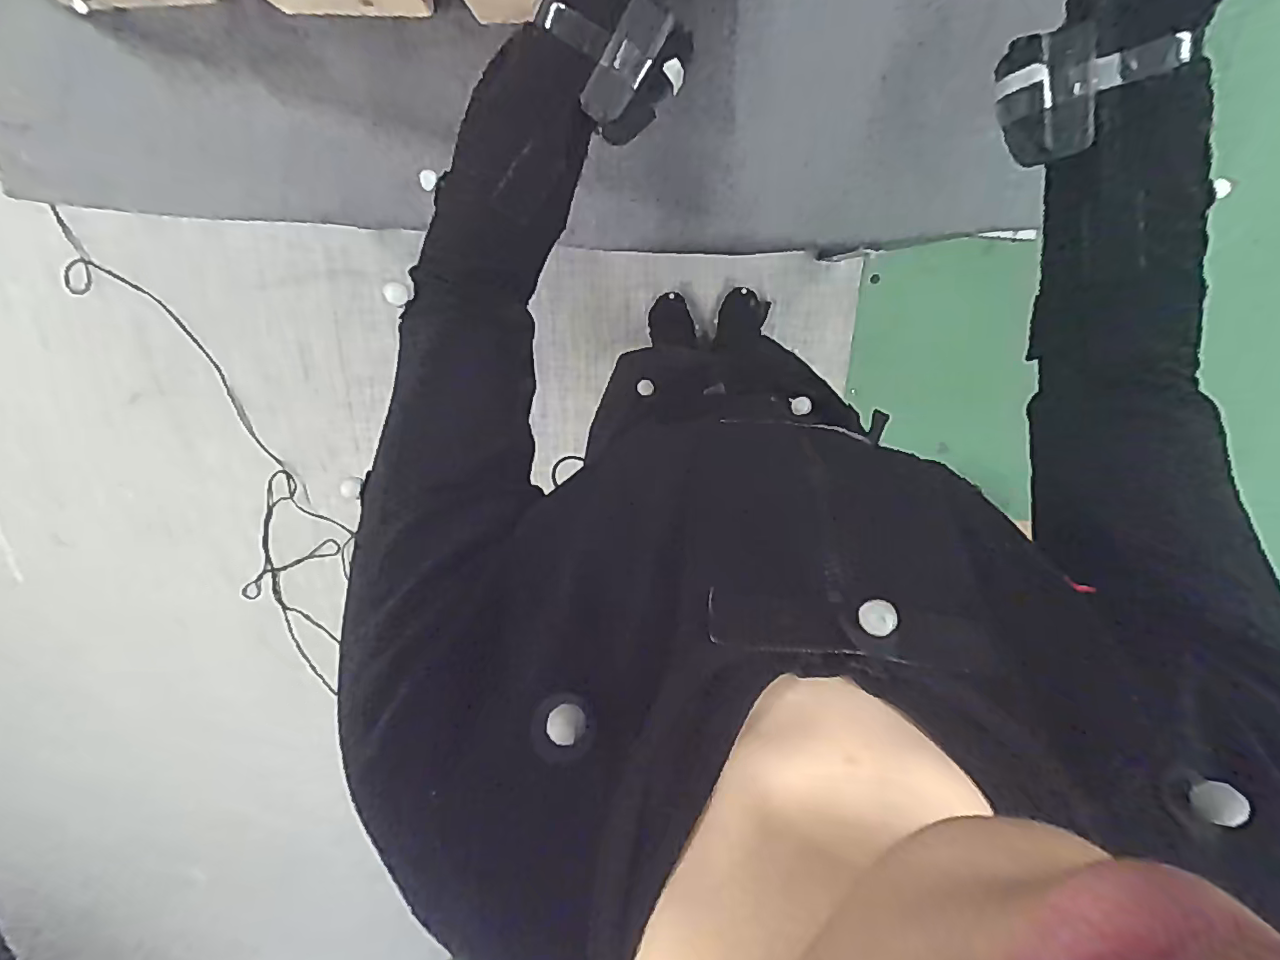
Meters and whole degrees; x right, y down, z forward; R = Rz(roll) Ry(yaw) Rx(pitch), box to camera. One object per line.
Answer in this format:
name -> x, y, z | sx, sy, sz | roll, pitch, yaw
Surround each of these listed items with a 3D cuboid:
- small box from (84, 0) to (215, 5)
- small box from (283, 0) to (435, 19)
small box -> -0.533, -0.570, 0.489 | 0.168, 0.176, 0.179 | 0, 108, 3
small box -> -0.298, -0.553, 0.483 | 0.168, 0.176, 0.179 | 3, 108, 2
